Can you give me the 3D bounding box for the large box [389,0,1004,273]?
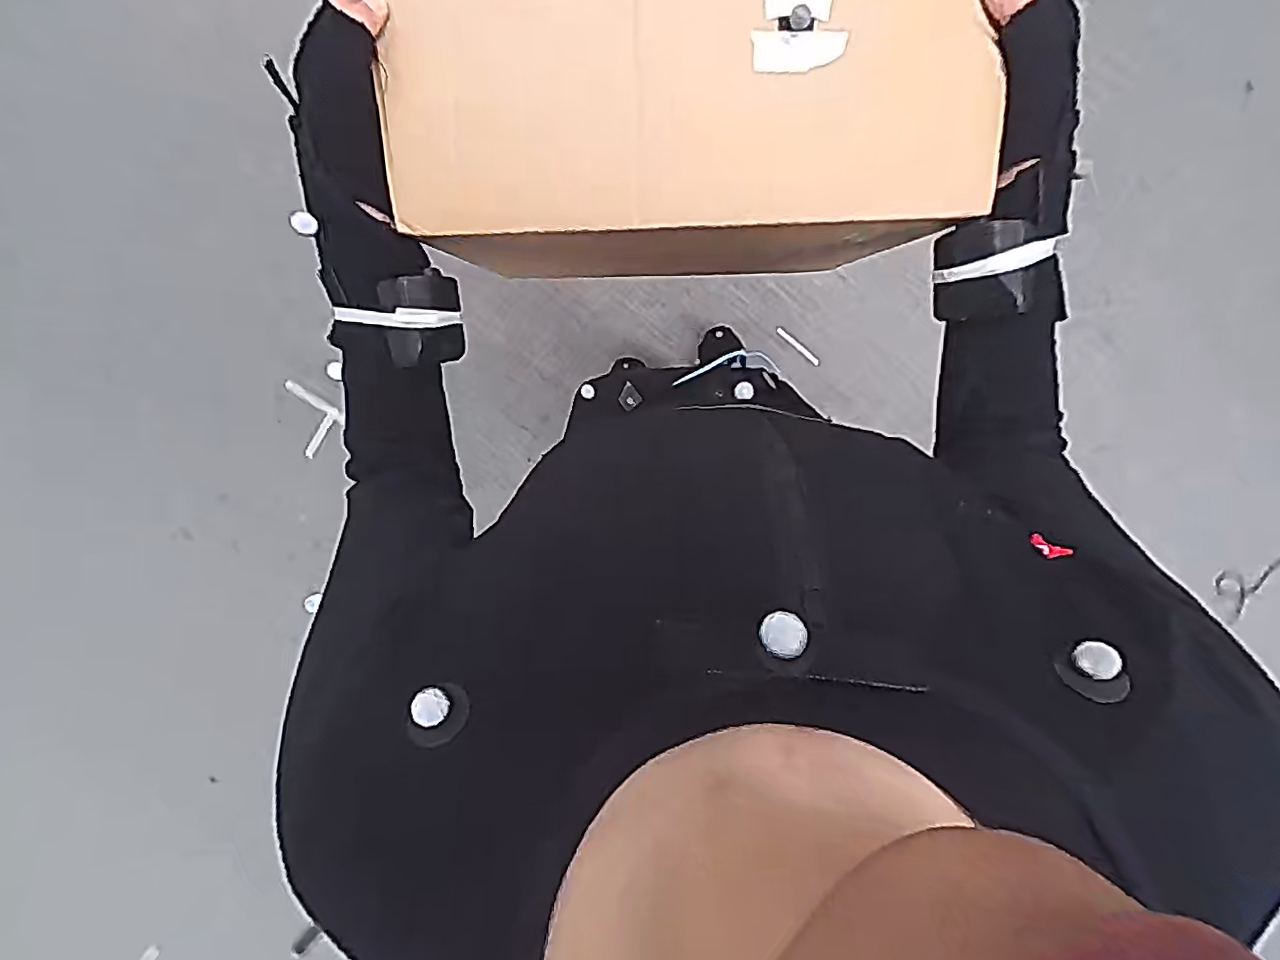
[{"bbox_3d":[0.034,-0.370,0.484,0.408,0.320,0.320,-1,106,-1],"label":"large box"}]
